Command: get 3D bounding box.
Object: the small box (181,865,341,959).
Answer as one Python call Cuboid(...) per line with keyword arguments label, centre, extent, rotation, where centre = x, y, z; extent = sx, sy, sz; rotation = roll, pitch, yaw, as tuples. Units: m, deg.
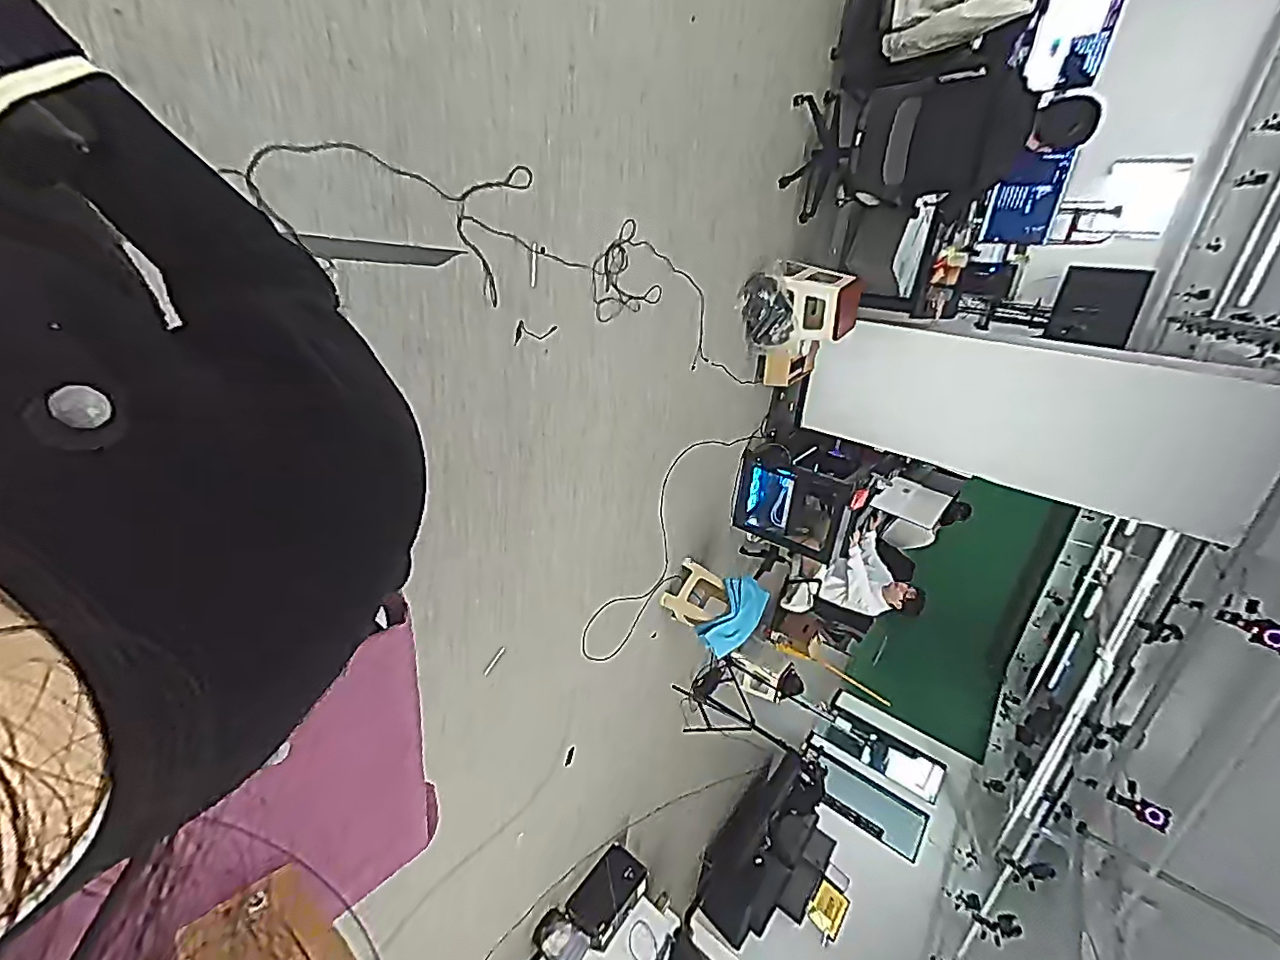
Cuboid(label="small box", centre=(-0.606, 0.784, 0.871), extent=(0.168, 0.176, 0.179), rotation=(-15, 117, -52))
